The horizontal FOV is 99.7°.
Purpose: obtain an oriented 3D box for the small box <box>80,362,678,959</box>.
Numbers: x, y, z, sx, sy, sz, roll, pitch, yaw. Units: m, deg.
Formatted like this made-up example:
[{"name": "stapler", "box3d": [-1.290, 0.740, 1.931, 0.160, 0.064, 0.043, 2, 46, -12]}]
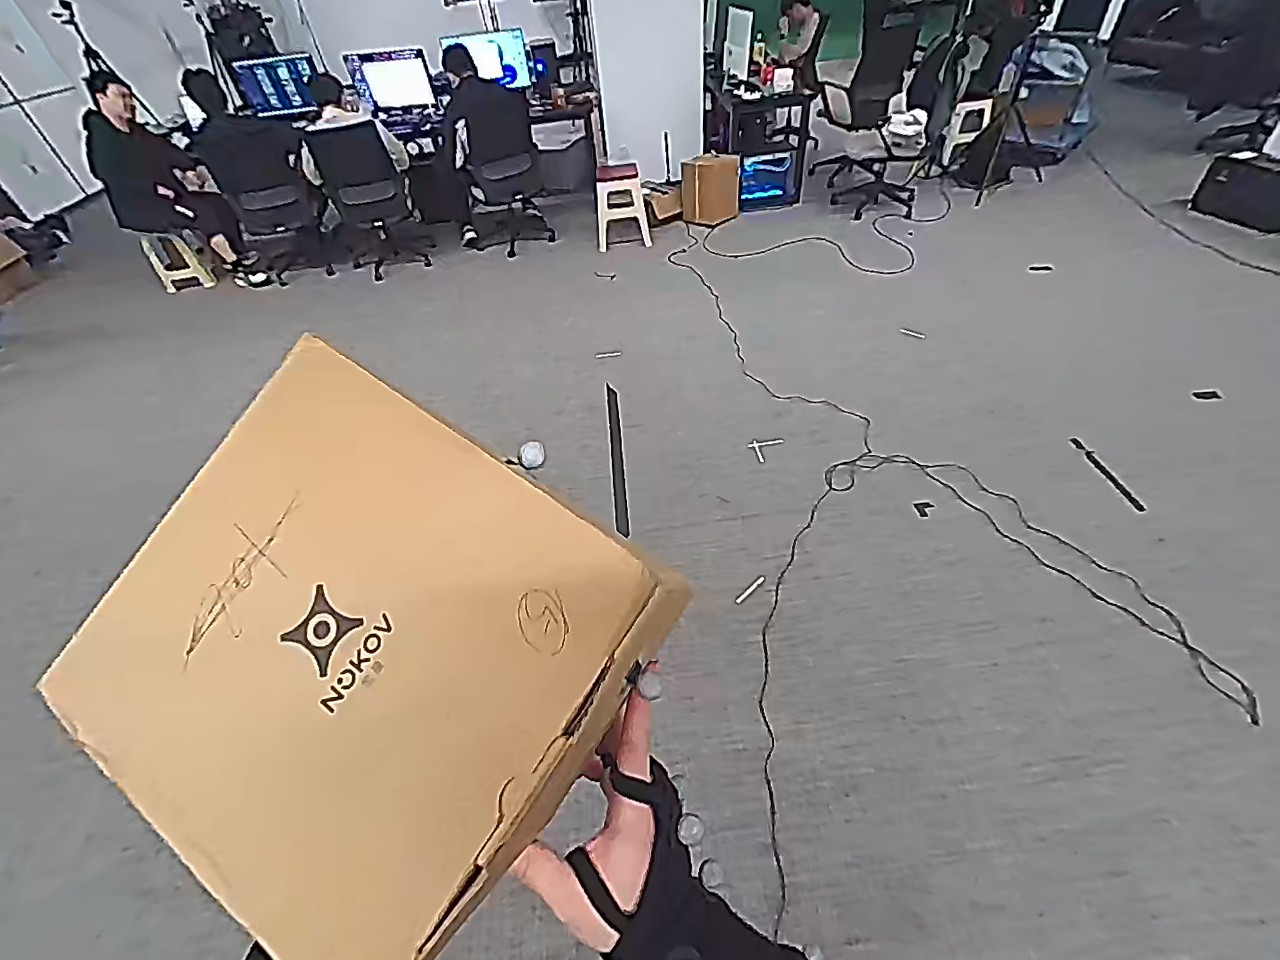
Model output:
[{"name": "small box", "box3d": [-0.095, 0.075, 0.278, 0.179, 0.176, 0.168, 31, 84, 15]}]
